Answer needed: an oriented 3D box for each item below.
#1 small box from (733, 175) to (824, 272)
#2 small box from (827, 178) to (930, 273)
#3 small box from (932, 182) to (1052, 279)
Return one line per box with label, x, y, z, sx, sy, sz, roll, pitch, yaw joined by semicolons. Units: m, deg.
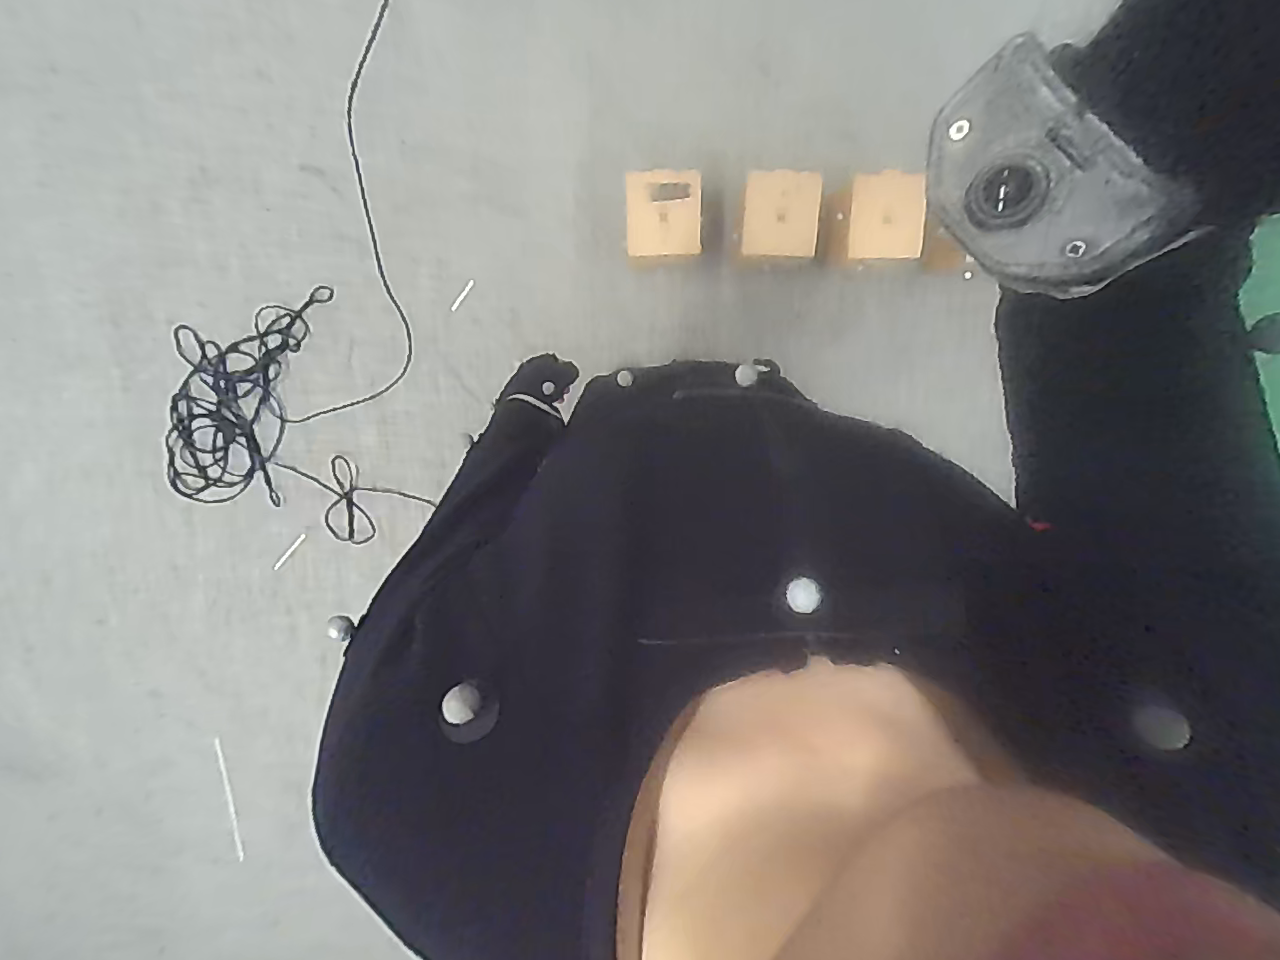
small box;0.315;-0.589;1.263;0.168;0.176;0.179;2;102;0
small box;0.547;-0.586;1.264;0.168;0.176;0.179;0;102;0
small box;0.810;-0.576;1.263;0.168;0.176;0.179;0;103;0
